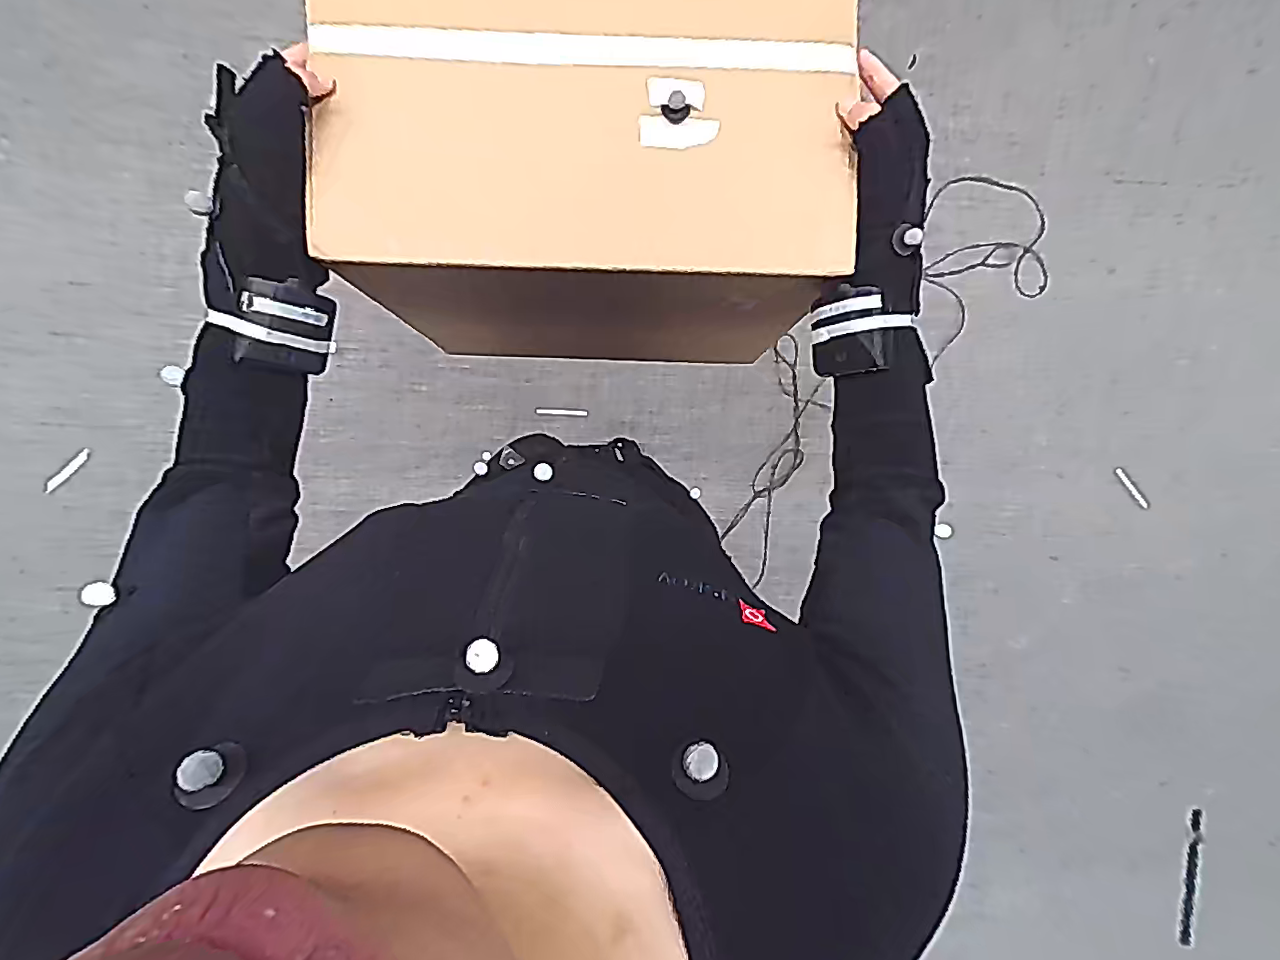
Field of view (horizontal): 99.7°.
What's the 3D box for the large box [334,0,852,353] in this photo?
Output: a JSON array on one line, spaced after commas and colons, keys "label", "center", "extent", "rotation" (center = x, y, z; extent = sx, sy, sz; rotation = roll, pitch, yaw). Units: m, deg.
[{"label": "large box", "center": [-0.039, -0.322, 0.566], "extent": [0.408, 0.320, 0.320], "rotation": [1, 90, -2]}]
